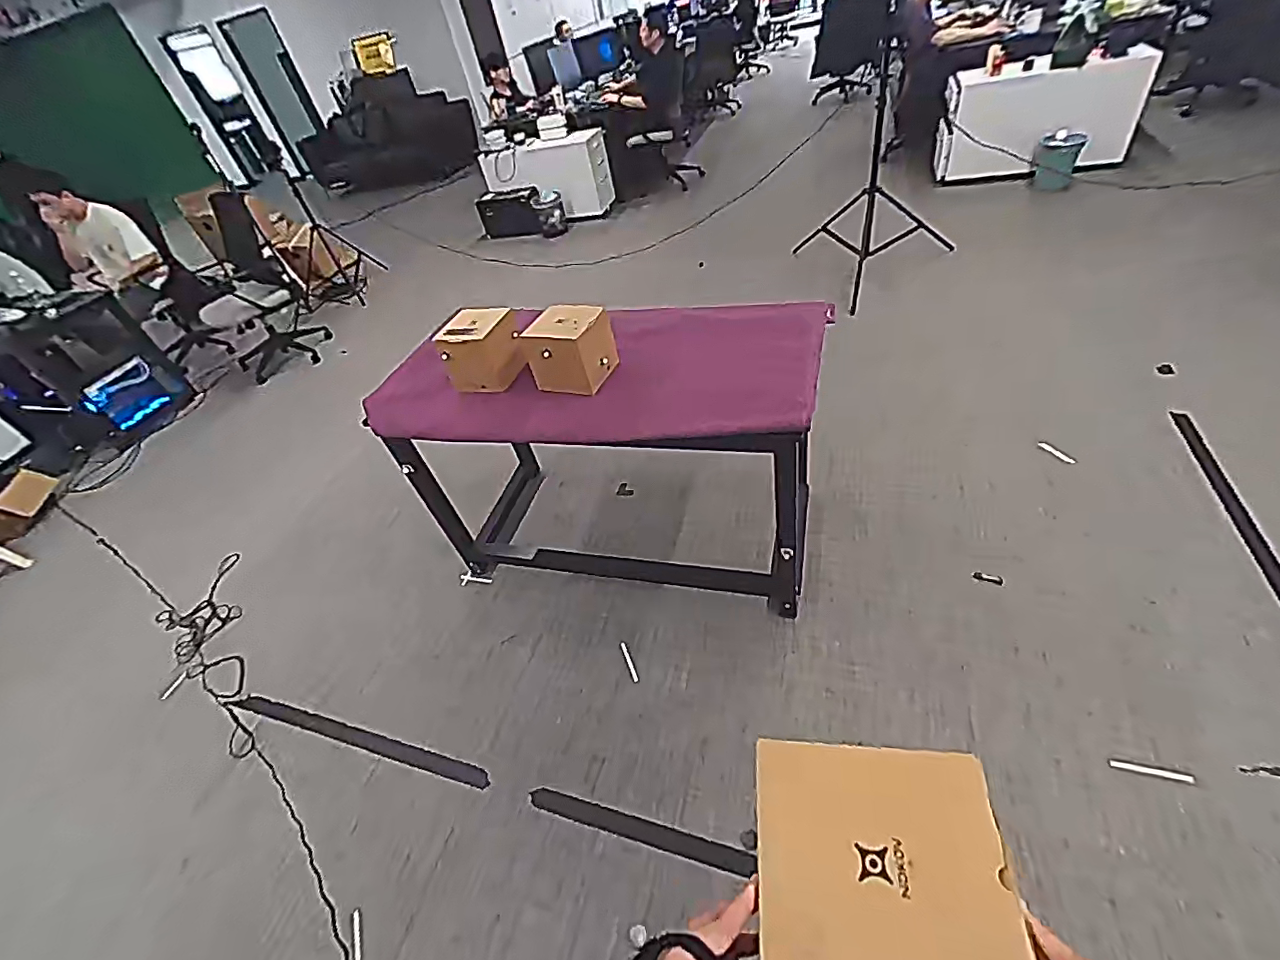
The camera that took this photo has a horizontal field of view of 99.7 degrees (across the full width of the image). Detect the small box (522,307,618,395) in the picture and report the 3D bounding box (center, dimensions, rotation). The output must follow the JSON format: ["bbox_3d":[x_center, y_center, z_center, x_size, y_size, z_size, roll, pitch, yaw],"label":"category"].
[{"bbox_3d":[-0.180,-0.345,1.444,0.179,0.176,0.168,10,48,24],"label":"small box"}]

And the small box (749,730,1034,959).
[{"bbox_3d":[0.183,0.328,0.446,0.179,0.176,0.168,-1,44,12],"label":"small box"}]
